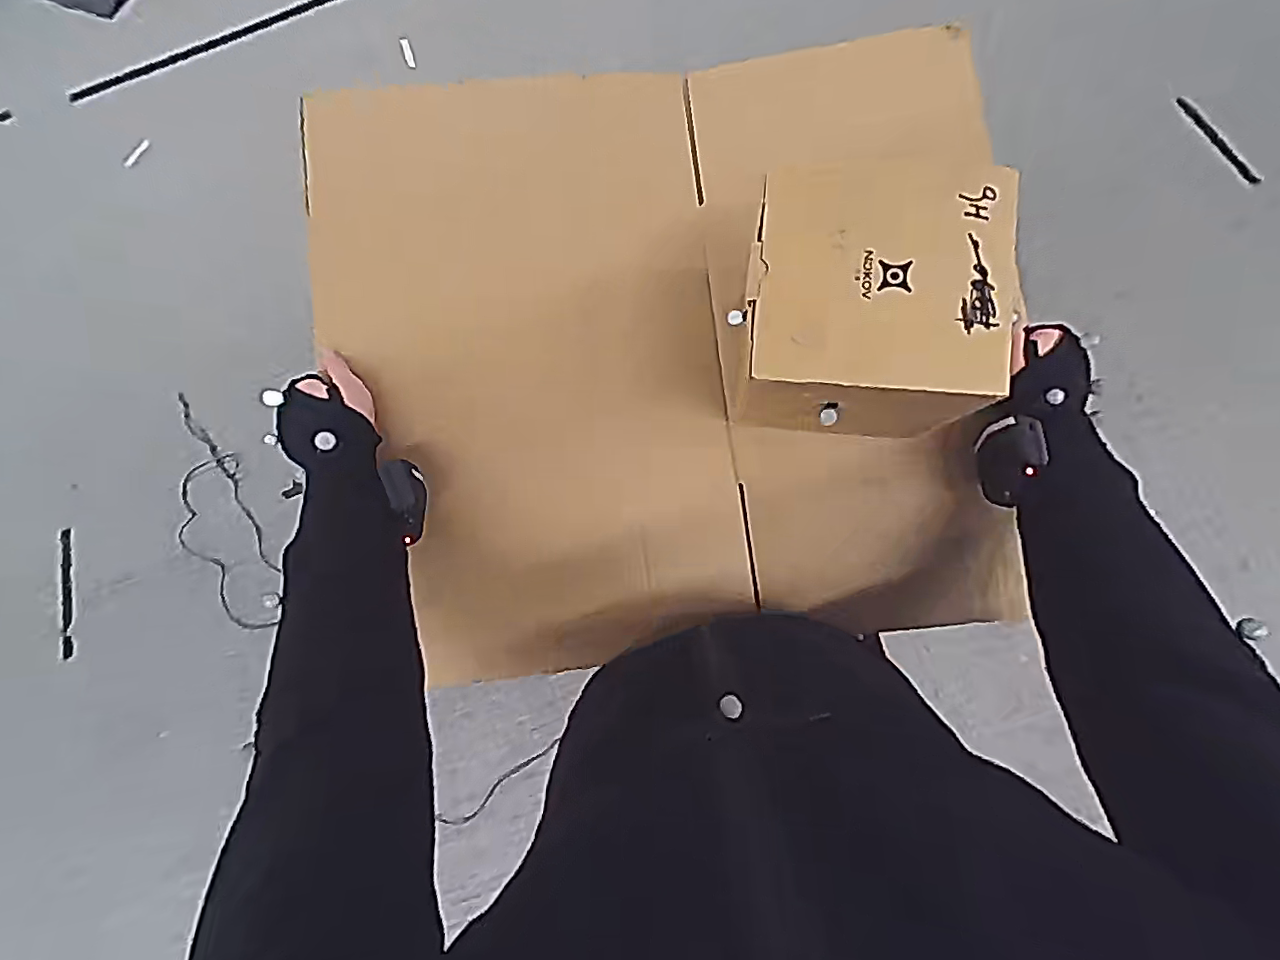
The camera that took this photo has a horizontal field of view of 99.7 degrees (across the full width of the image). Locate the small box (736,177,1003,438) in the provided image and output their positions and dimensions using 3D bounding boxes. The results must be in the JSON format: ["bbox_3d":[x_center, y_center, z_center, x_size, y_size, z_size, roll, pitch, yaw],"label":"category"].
[{"bbox_3d":[0.178,-0.134,0.471,0.179,0.176,0.168,4,85,8],"label":"small box"}]
